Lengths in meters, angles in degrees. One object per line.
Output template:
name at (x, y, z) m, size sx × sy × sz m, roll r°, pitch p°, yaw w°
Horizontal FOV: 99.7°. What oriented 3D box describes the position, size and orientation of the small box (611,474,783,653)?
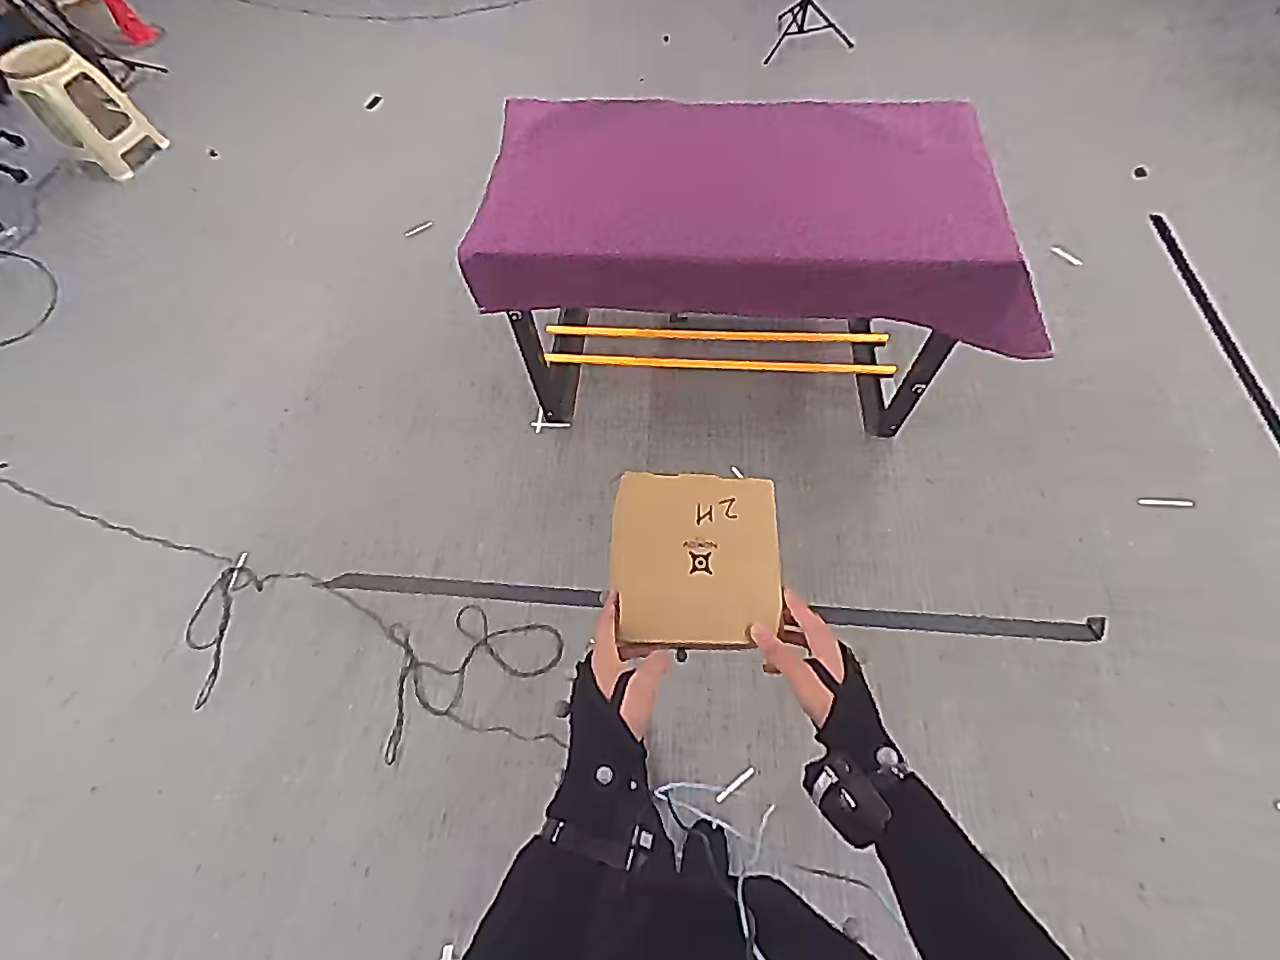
small box at (0.055, 0.106, 0.626) m, size 0.168 × 0.176 × 0.179 m, roll 4°, pitch 70°, yaw -6°
